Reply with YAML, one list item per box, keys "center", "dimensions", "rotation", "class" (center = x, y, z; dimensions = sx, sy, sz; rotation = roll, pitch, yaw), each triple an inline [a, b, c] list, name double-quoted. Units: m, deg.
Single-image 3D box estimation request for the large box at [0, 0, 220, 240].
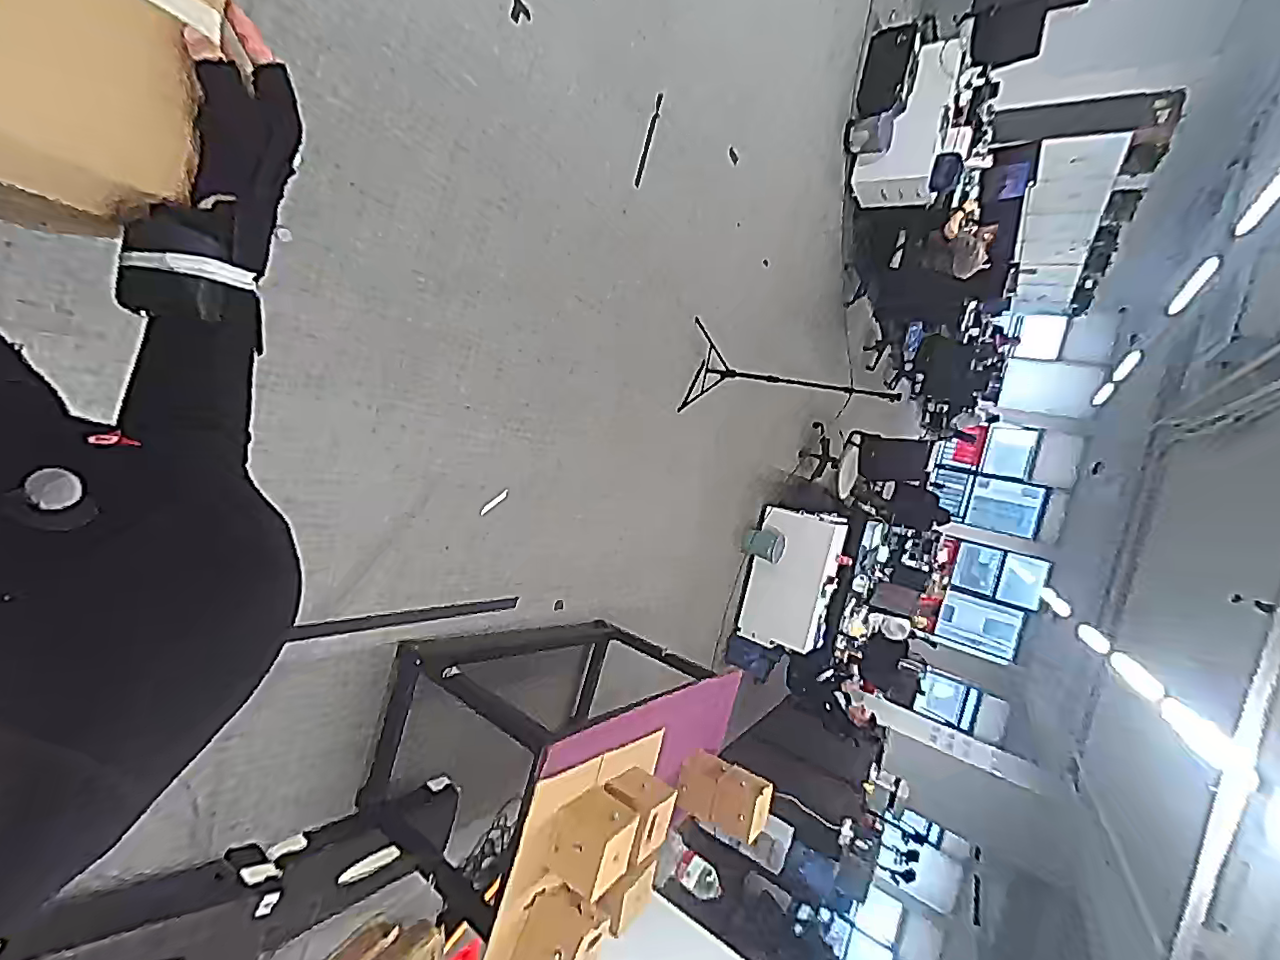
- center: [-0.546, -0.372, 0.306]
  dimensions: [0.408, 0.320, 0.320]
  rotation: [4, 102, -61]
  class: "large box"
